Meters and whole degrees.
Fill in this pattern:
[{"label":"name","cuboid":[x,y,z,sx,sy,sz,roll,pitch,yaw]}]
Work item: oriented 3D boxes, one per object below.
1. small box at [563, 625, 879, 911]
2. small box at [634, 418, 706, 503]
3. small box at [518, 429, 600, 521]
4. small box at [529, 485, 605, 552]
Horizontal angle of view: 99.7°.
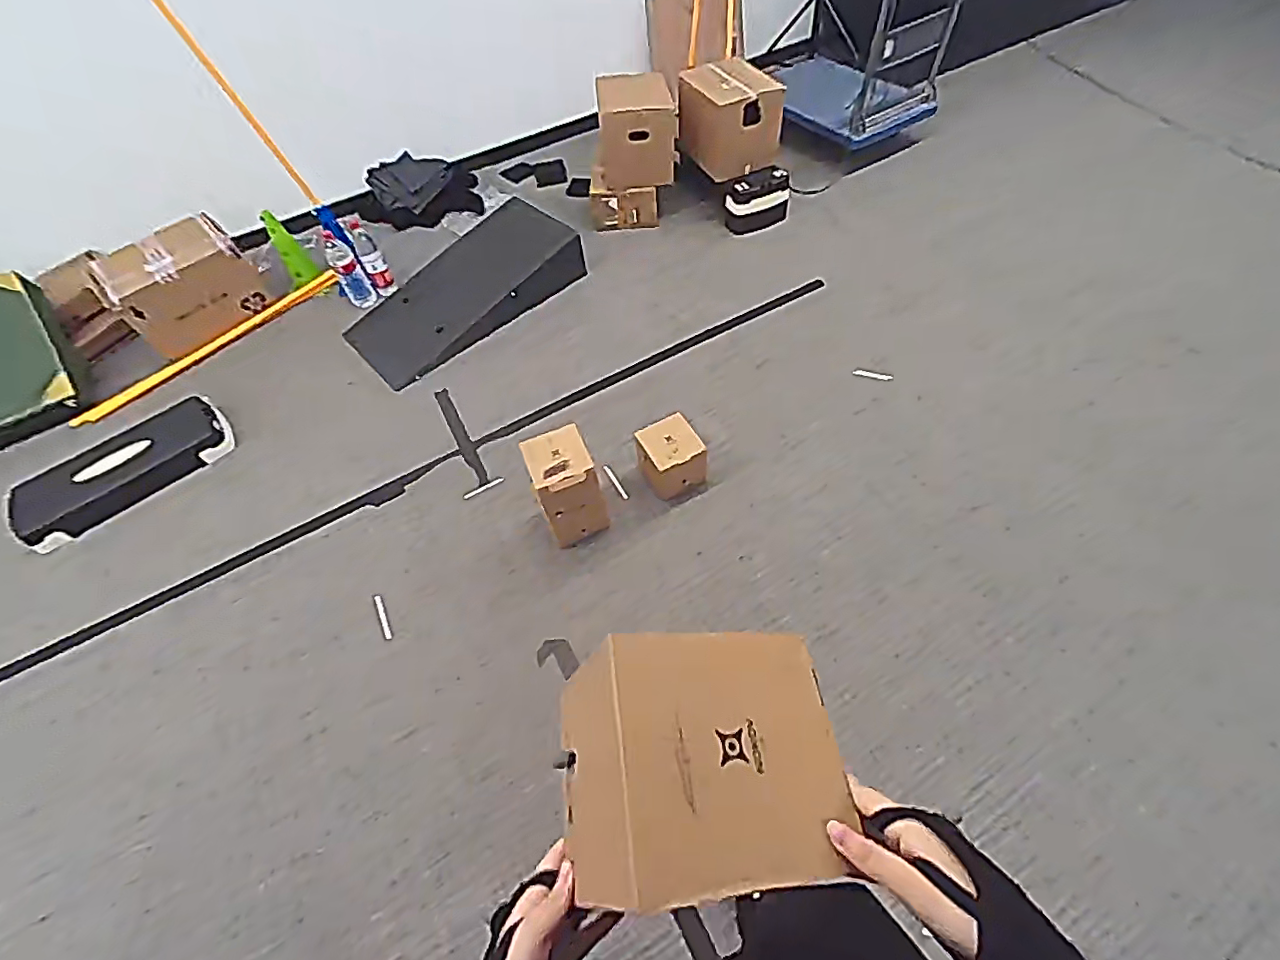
[{"label":"small box","cuboid":[0.044,0.227,0.434,0.179,0.176,0.168,7,53,-20]},{"label":"small box","cuboid":[0.093,-0.059,1.710,0.168,0.176,0.179,-26,57,-12]},{"label":"small box","cuboid":[-0.221,-0.006,1.501,0.168,0.176,0.179,-21,55,-10]},{"label":"small box","cuboid":[-0.215,0.087,1.638,0.179,0.176,0.168,-25,56,-13]}]
